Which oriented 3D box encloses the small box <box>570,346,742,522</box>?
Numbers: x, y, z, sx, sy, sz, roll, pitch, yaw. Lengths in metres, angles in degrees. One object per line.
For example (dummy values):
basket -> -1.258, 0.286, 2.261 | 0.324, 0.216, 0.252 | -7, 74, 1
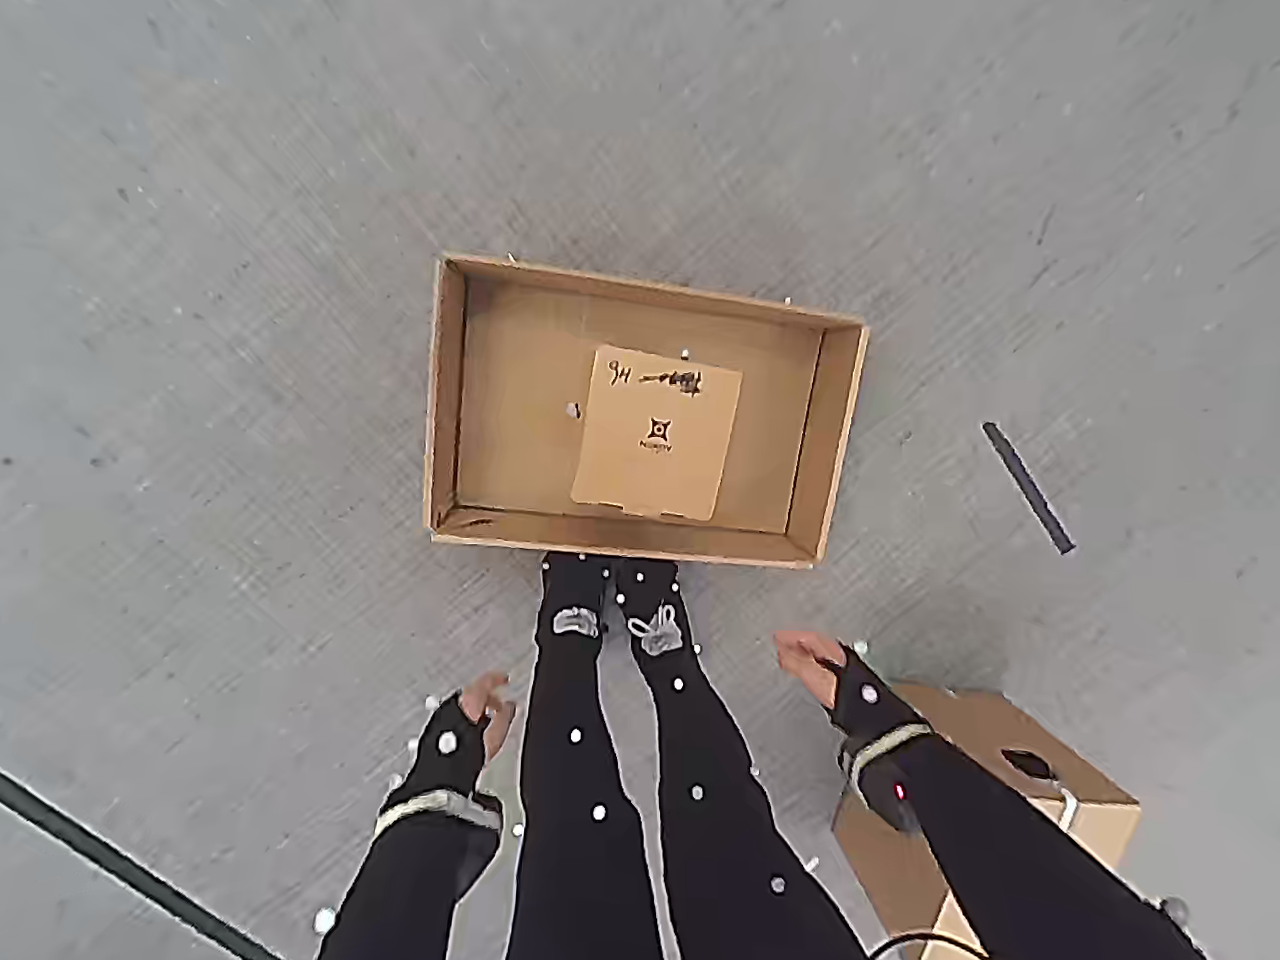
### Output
small box -> 0.008, -0.064, 0.679 | 0.168, 0.176, 0.179 | 9, 101, -11
